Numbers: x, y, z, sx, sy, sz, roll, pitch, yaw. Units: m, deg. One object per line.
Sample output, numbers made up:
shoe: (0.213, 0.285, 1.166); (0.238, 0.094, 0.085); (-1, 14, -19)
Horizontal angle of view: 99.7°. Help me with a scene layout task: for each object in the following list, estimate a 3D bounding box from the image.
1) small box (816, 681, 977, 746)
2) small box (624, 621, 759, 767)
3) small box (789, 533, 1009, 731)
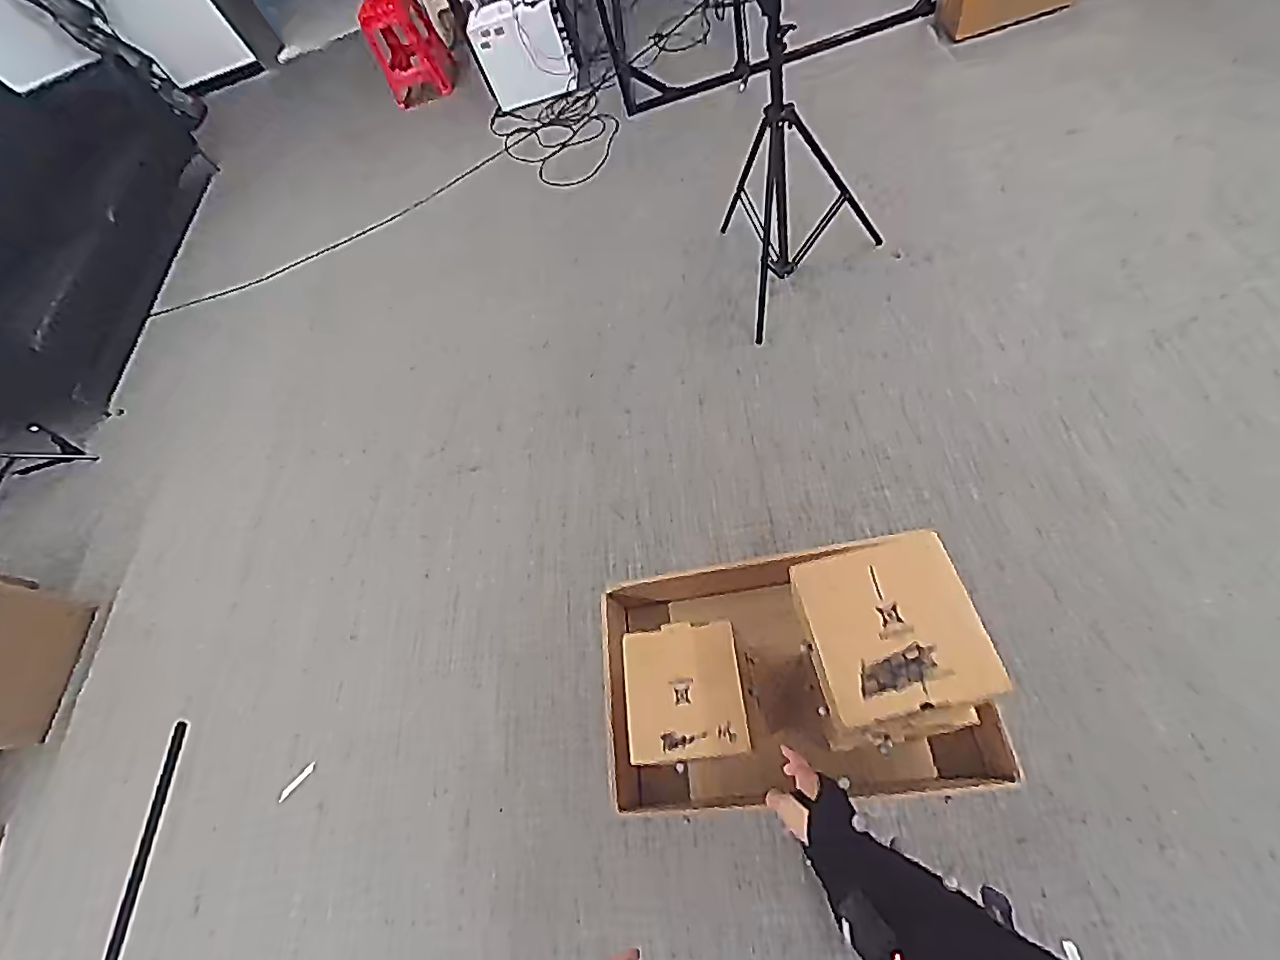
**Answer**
small box: (0.338, 0.271, 0.770); (0.168, 0.176, 0.179); (-14, 61, 10)
small box: (0.080, 0.330, 0.819); (0.168, 0.176, 0.179); (-12, 59, 13)
small box: (0.285, 0.188, 0.637); (0.168, 0.176, 0.179); (-17, 59, 8)
